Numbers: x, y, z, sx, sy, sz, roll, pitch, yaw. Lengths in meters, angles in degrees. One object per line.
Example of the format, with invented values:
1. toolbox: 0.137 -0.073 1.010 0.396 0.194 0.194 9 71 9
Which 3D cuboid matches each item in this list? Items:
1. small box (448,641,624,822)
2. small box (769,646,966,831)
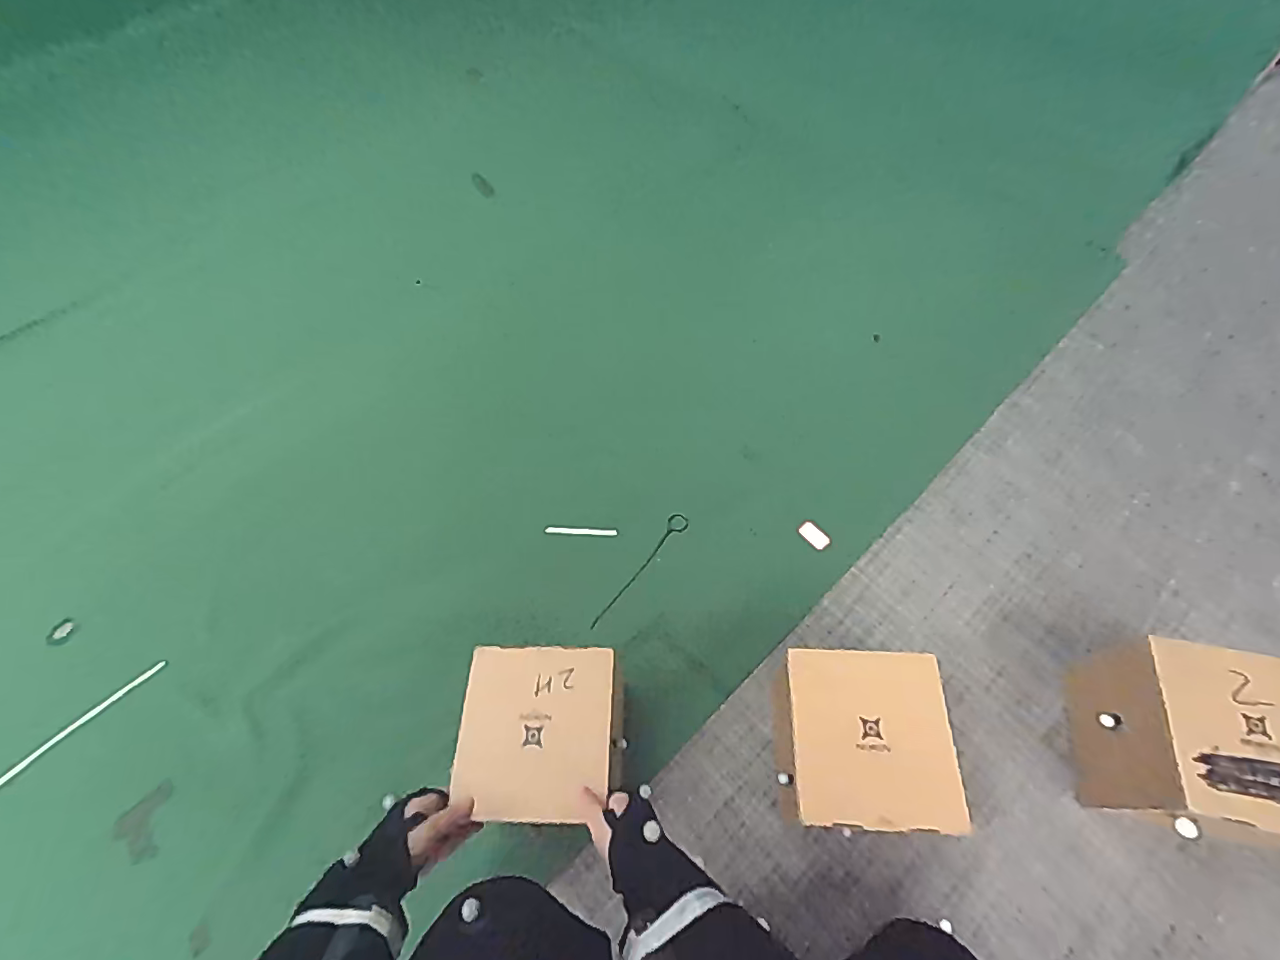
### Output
1. small box: -0.108 0.306 0.654 0.168 0.176 0.179 1 57 2
2. small box: 0.252 0.310 0.650 0.168 0.176 0.179 0 61 6
